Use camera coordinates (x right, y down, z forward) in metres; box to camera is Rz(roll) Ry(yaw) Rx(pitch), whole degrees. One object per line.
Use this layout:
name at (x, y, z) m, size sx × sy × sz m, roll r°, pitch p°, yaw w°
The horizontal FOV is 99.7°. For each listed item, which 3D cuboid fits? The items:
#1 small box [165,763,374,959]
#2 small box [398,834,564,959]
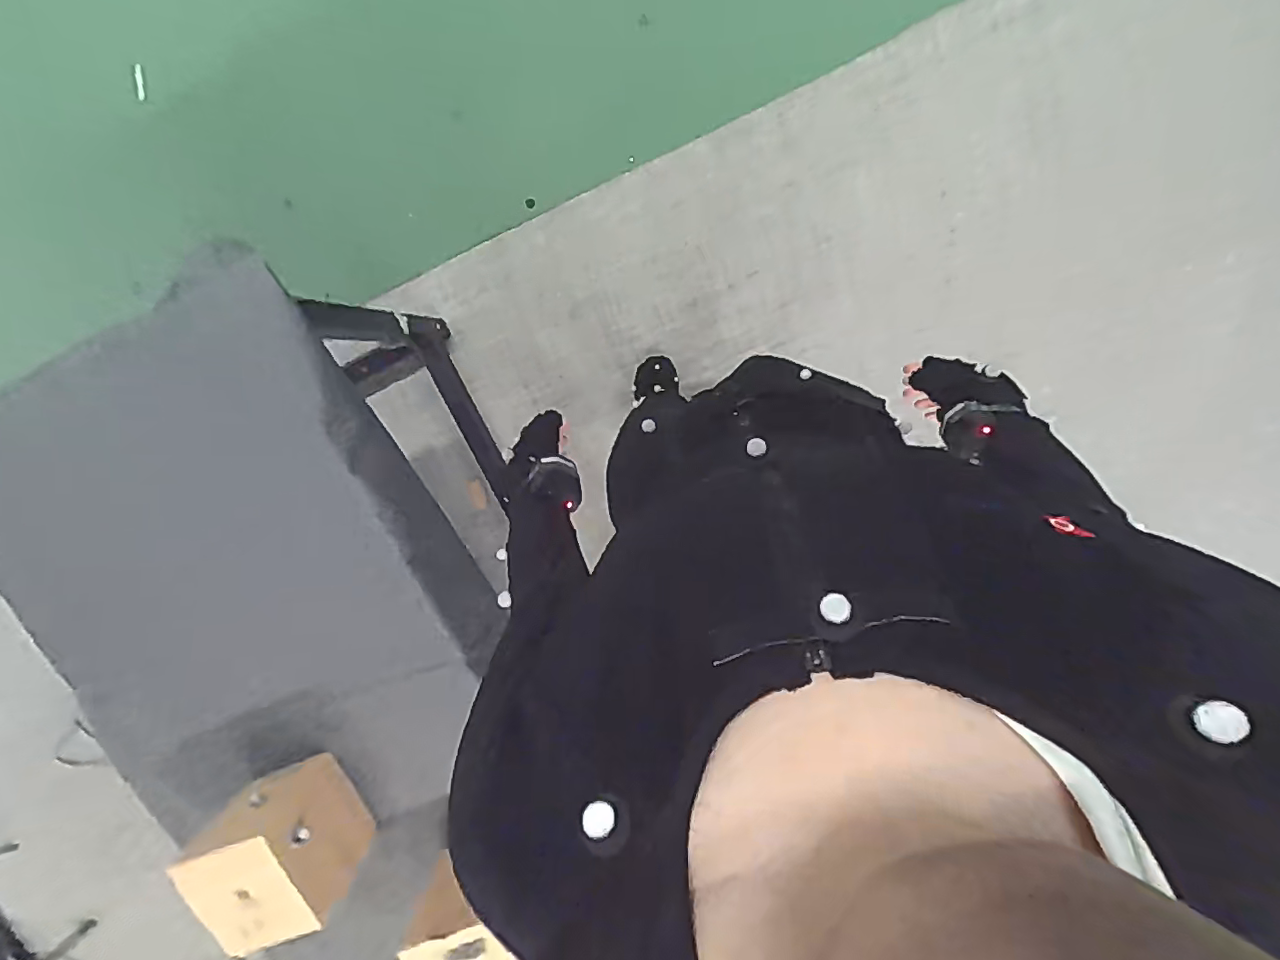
small box at (-0.560, 0.578, 0.846) m, size 0.168 × 0.176 × 0.179 m, roll -22°, pitch 101°, yaw 6°
small box at (-0.241, 0.707, 0.864) m, size 0.168 × 0.176 × 0.179 m, roll -24°, pitch 101°, yaw 8°
